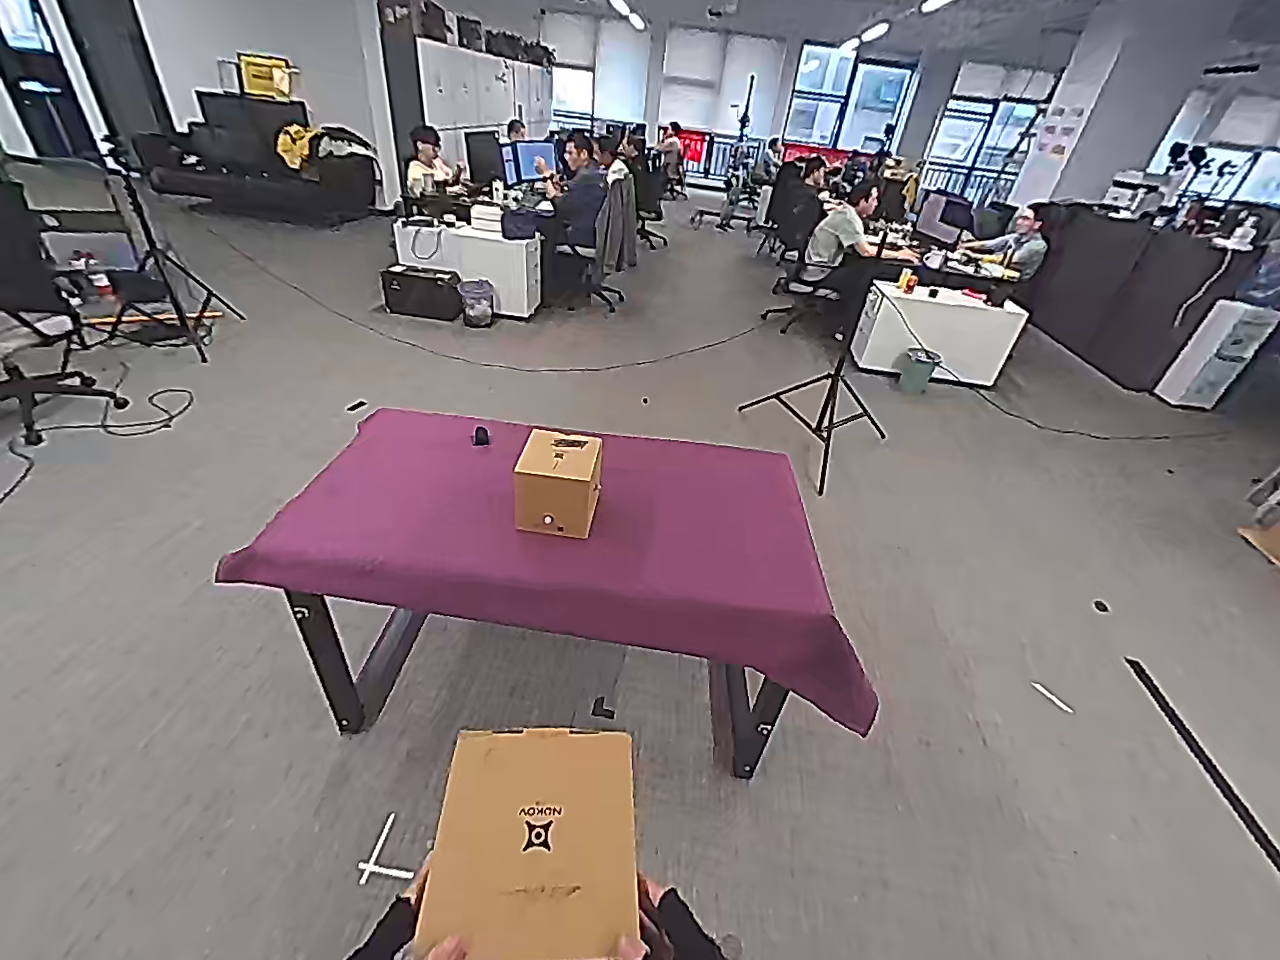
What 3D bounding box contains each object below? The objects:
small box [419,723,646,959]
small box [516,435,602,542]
[{"bbox_3d":[-0.090,0.353,0.499,0.168,0.176,0.179,4,36,-7],"label":"small box"},{"bbox_3d":[-0.185,0.018,1.253,0.168,0.176,0.179,7,35,1],"label":"small box"}]
